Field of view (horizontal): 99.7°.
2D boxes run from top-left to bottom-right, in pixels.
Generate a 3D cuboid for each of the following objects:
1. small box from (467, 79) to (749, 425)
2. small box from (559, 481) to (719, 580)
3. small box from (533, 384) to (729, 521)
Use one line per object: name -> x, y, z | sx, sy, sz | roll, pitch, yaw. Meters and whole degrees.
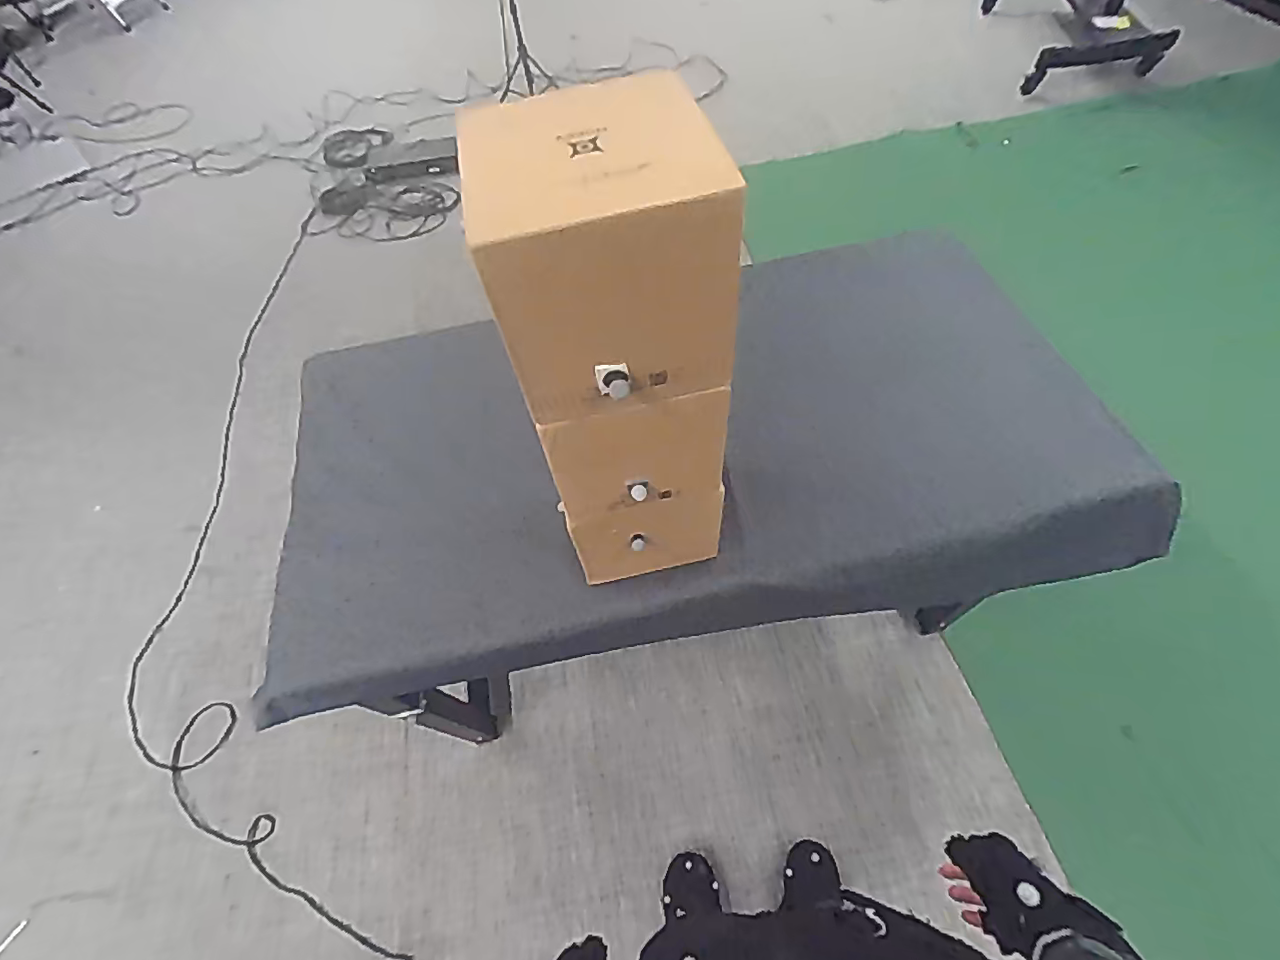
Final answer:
small box -> -0.026, -0.172, 0.424 | 0.168, 0.176, 0.179 | -13, 57, -3
small box -> -0.005, 0.012, 0.693 | 0.179, 0.176, 0.168 | -12, 57, -3
small box -> -0.016, -0.082, 0.558 | 0.168, 0.176, 0.179 | -11, 57, -3
